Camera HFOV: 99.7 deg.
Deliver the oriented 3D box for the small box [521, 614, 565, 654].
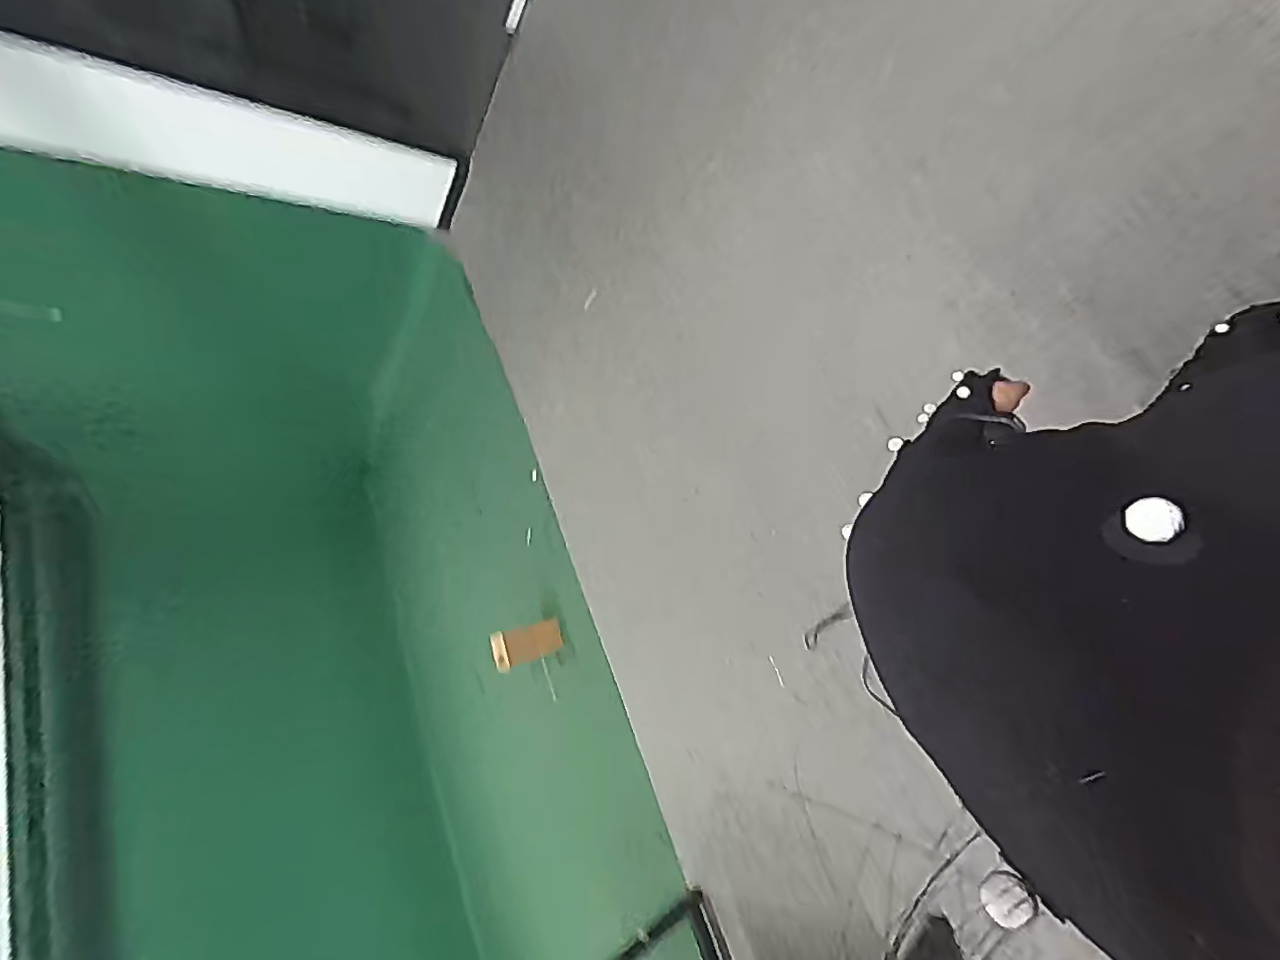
[{"bbox_3d":[-0.531,0.850,2.987,0.179,0.176,0.168,-29,74,48],"label":"small box"}]
